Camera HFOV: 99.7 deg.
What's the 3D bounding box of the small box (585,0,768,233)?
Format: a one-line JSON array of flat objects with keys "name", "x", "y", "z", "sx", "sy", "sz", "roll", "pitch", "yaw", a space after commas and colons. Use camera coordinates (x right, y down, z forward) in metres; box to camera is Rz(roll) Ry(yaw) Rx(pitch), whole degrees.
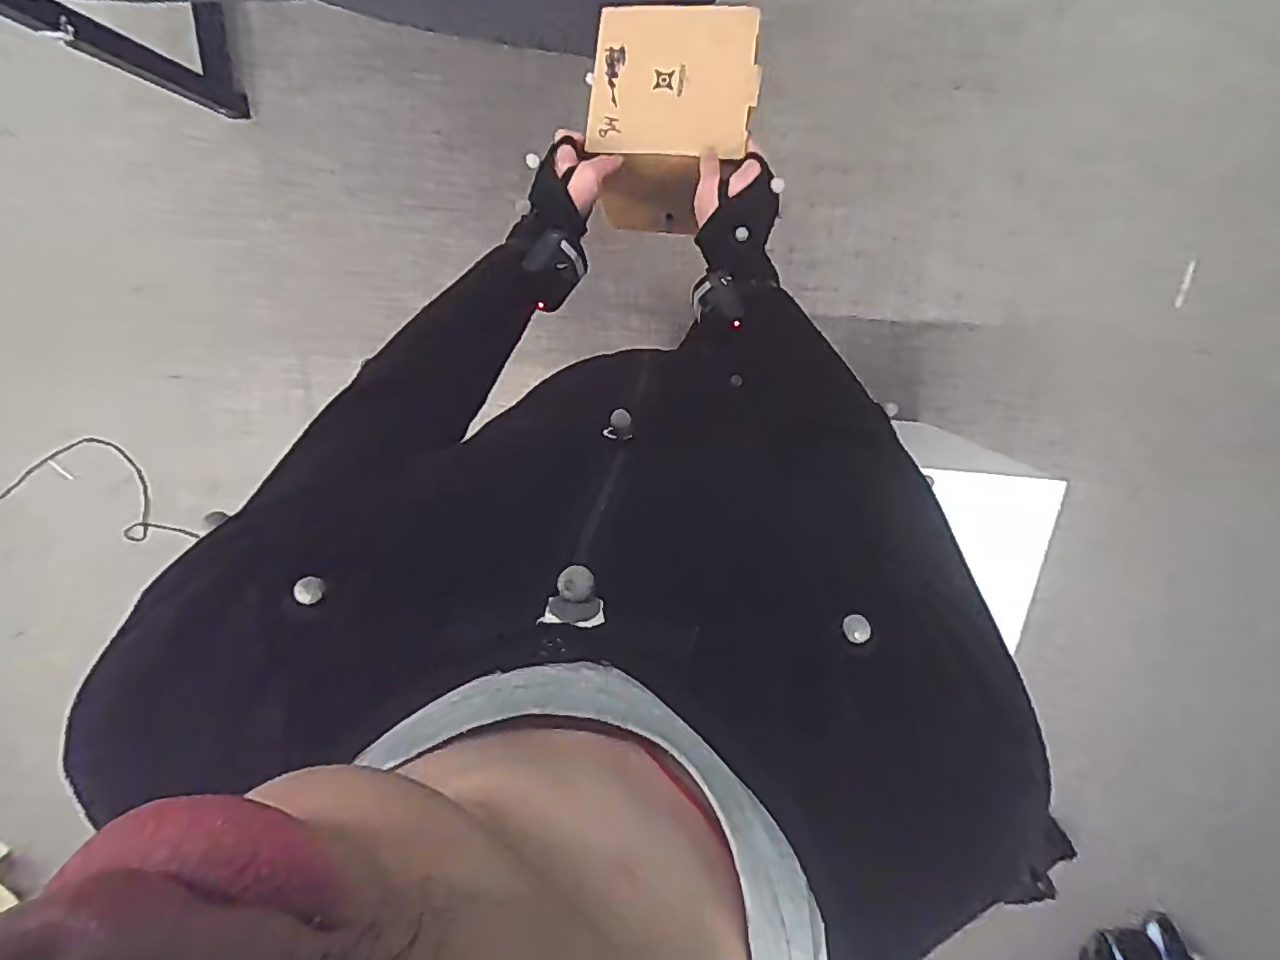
[{"name": "small box", "x": 0.043, "y": -0.416, "z": 0.644, "sx": 0.179, "sy": 0.176, "sz": 0.168, "roll": 7, "pitch": 87, "yaw": 4}]
